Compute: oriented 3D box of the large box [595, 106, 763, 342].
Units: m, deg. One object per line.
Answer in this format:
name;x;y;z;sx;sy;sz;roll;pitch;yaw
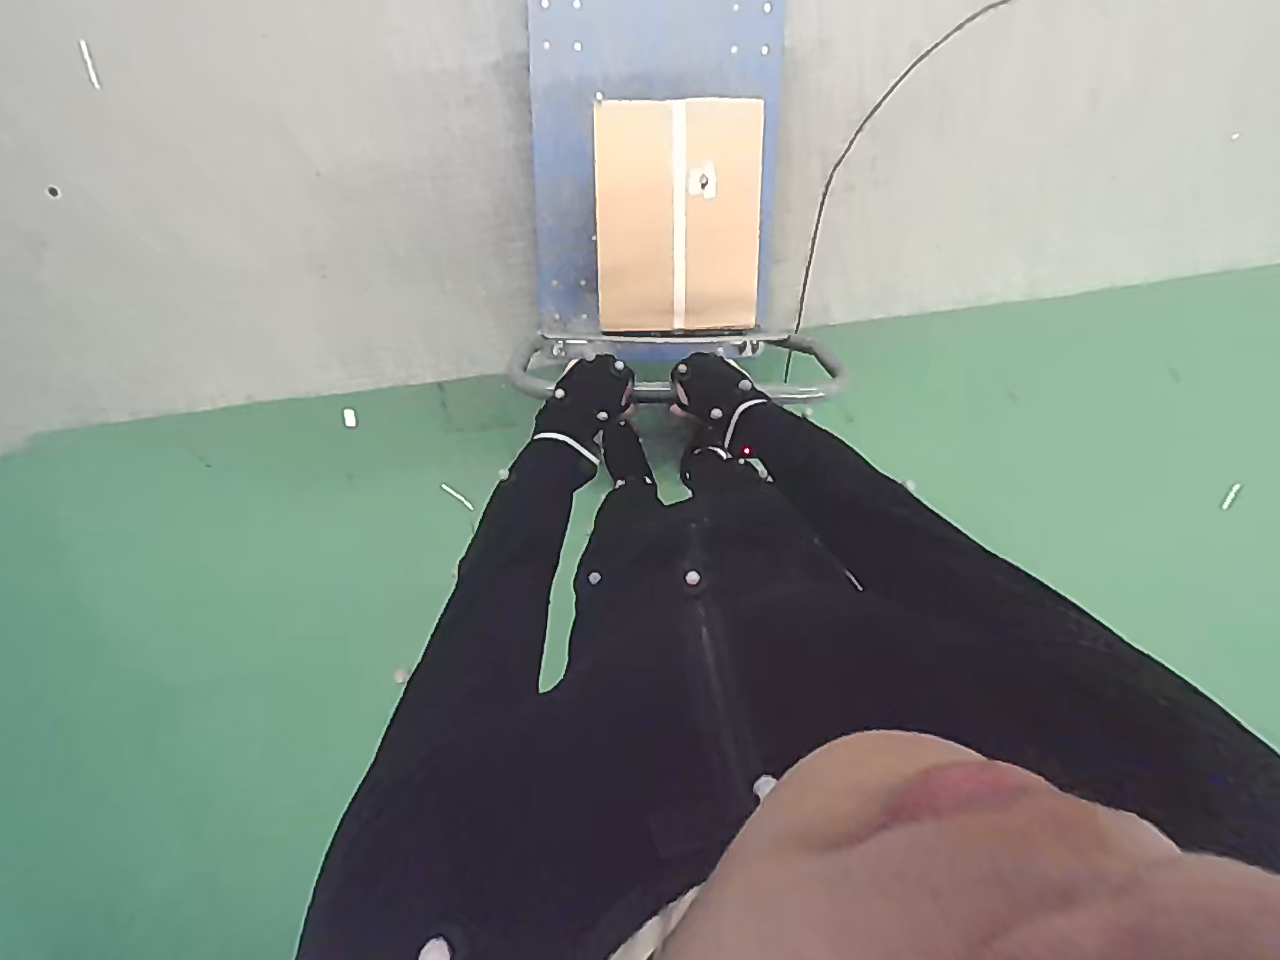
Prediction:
large box;0.075;-0.513;1.167;0.320;0.320;0.408;-2;103;-2
